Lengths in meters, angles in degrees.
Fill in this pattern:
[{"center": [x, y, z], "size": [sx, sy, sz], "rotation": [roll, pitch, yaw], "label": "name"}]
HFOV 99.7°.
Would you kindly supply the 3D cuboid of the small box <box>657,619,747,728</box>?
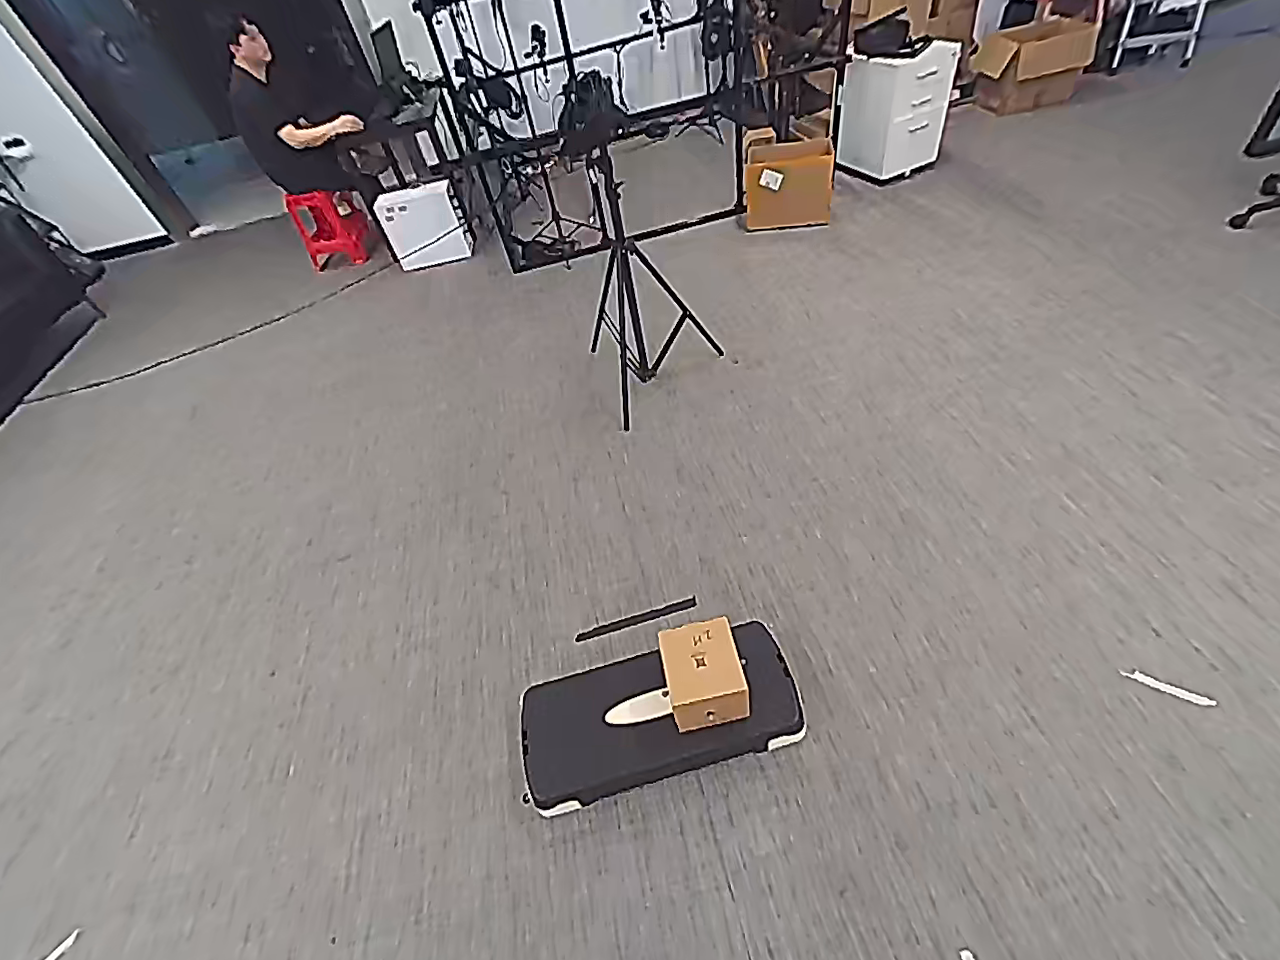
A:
[{"center": [0.143, 0.447, 1.233], "size": [0.168, 0.176, 0.179], "rotation": [-13, 46, 1], "label": "small box"}]
